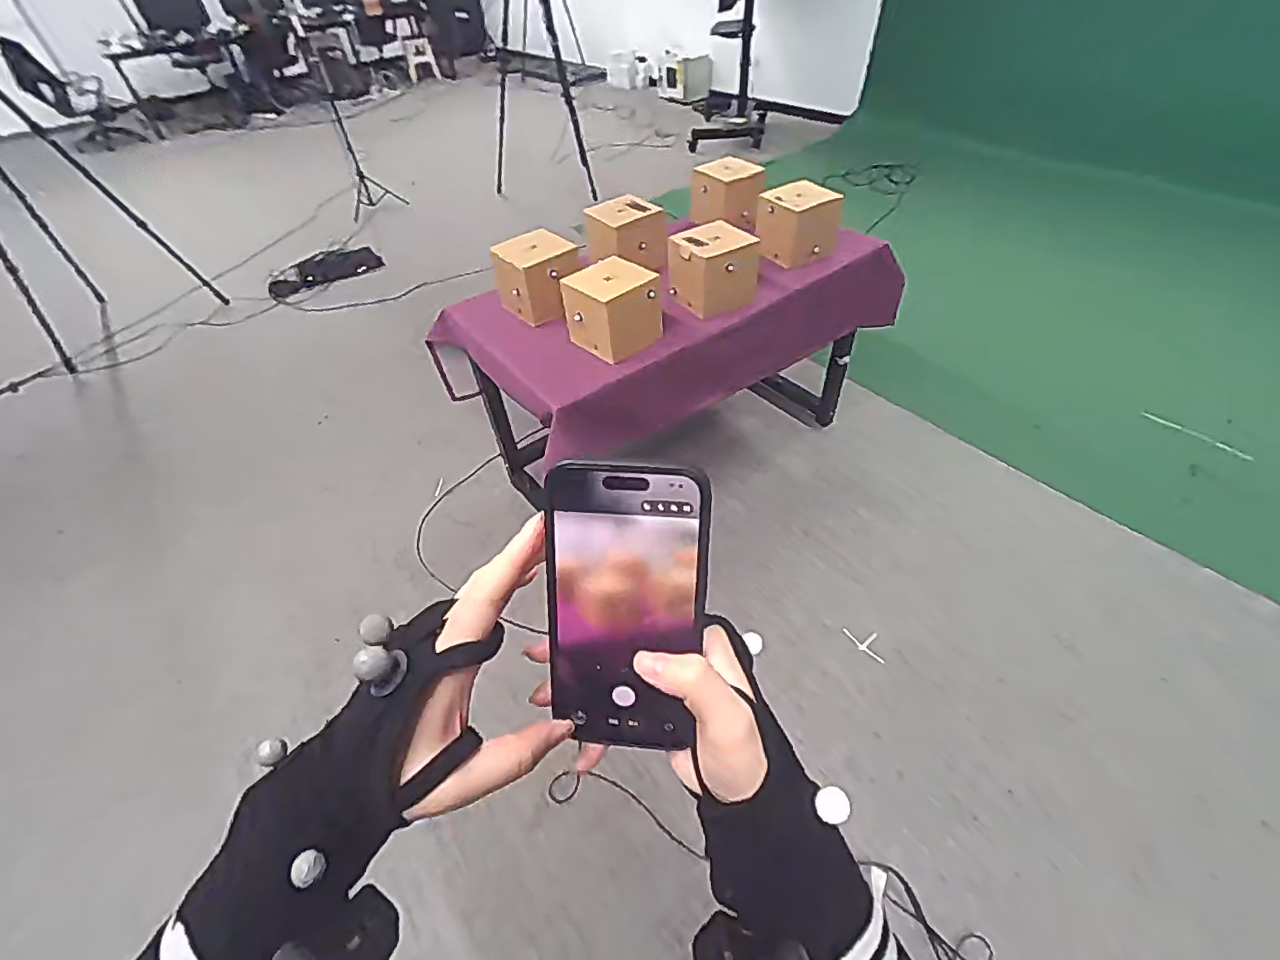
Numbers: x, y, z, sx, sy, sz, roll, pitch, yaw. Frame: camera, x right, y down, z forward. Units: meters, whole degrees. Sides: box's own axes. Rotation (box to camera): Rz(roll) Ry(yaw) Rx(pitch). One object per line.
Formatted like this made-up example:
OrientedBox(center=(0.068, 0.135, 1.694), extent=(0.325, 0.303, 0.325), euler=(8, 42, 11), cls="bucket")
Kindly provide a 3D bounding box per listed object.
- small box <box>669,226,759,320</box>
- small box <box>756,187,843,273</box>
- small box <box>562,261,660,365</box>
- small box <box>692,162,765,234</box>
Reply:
OrientedBox(center=(0.193, -0.549, 1.439), extent=(0.179, 0.176, 0.168), euler=(-25, 50, -20), cls="small box")
OrientedBox(center=(0.464, -0.742, 1.603), extent=(0.179, 0.176, 0.168), euler=(-25, 49, -19), cls="small box")
OrientedBox(center=(-0.063, -0.408, 1.325), extent=(0.179, 0.176, 0.168), euler=(-35, 53, -28), cls="small box")
OrientedBox(center=(0.285, -0.923, 1.787), extent=(0.168, 0.176, 0.179), euler=(-28, 52, -20), cls="small box")
